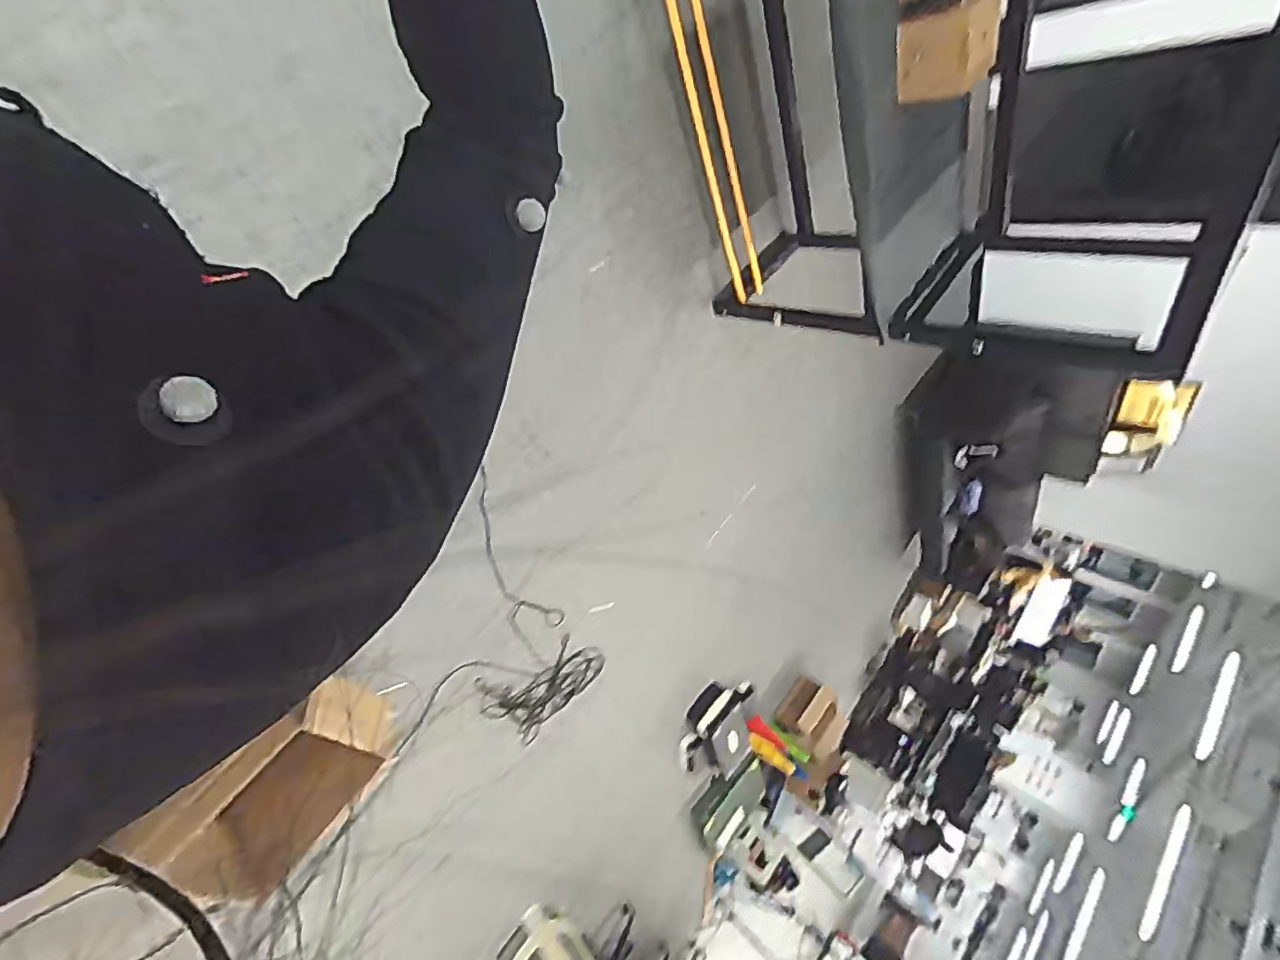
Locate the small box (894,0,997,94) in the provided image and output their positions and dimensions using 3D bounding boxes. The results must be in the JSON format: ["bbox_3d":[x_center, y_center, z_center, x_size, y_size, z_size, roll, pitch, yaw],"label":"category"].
[{"bbox_3d":[0.743,-1.077,1.319,0.179,0.176,0.168,-47,136,-20],"label":"small box"}]
